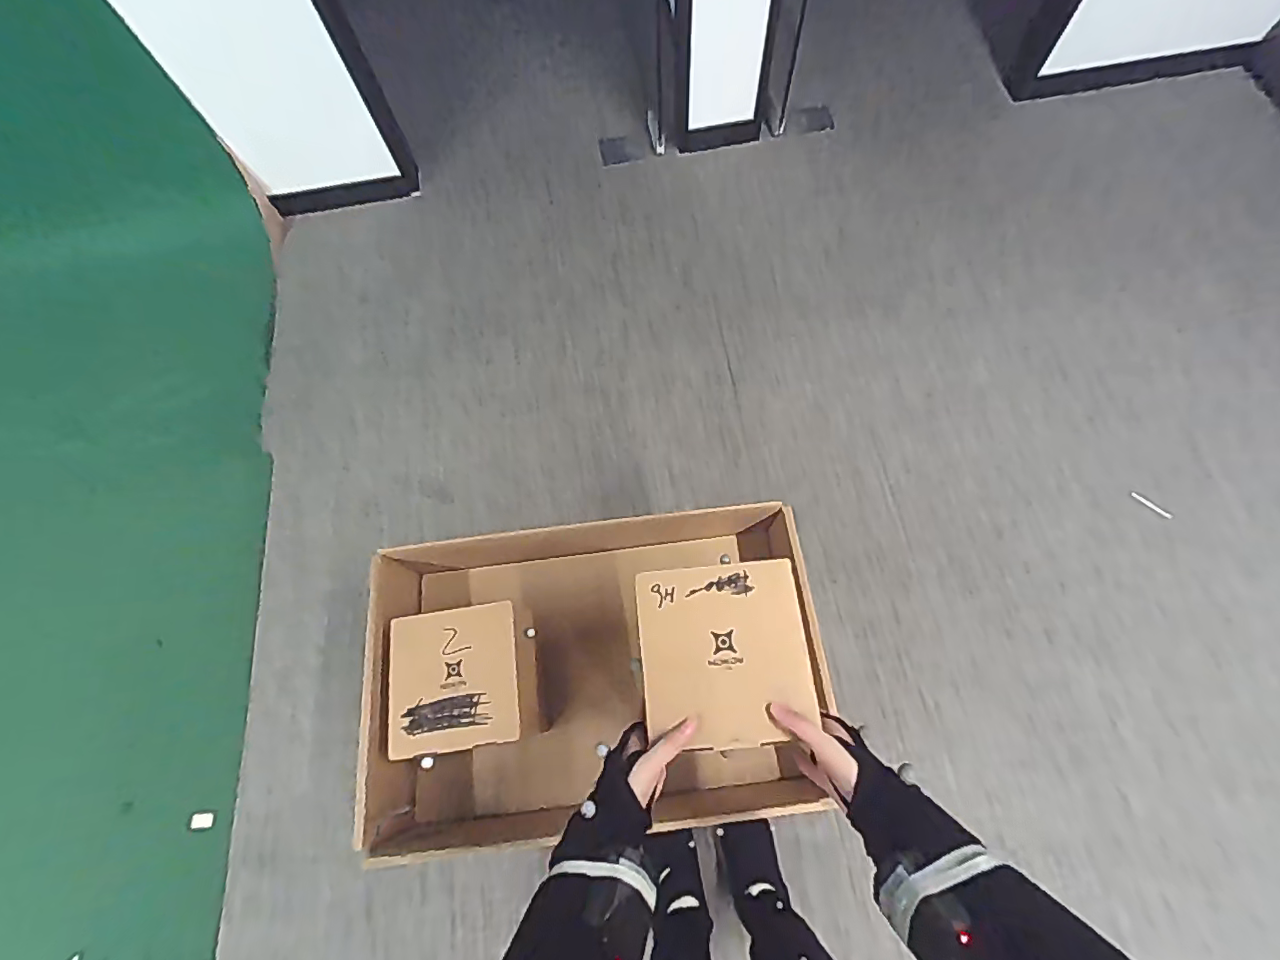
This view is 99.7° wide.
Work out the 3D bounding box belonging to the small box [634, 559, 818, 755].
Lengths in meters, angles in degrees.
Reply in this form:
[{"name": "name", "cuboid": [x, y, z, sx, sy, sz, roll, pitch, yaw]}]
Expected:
[{"name": "small box", "cuboid": [0.085, 0.198, 0.611, 0.168, 0.176, 0.179, -6, 69, 1]}]
